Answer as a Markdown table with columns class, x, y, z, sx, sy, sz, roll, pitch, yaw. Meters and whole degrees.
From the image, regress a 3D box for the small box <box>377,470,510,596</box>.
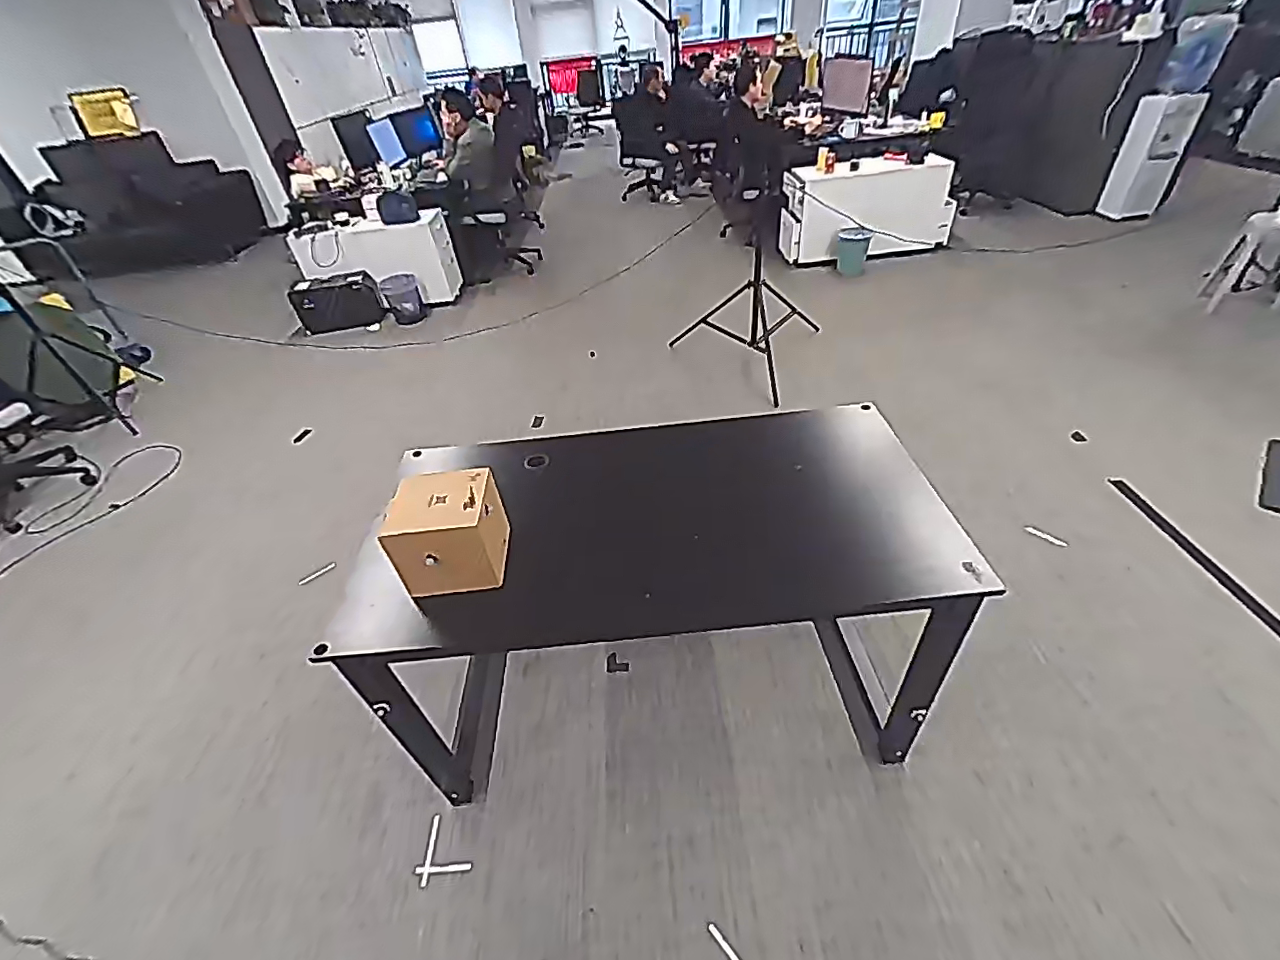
| class | x | y | z | sx | sy | sz | roll | pitch | yaw |
| --- | --- | --- | --- | --- | --- | --- | --- | --- | --- |
| small box | -0.364 | 0.105 | 1.039 | 0.179 | 0.176 | 0.168 | -7 | 40 | 0 |
